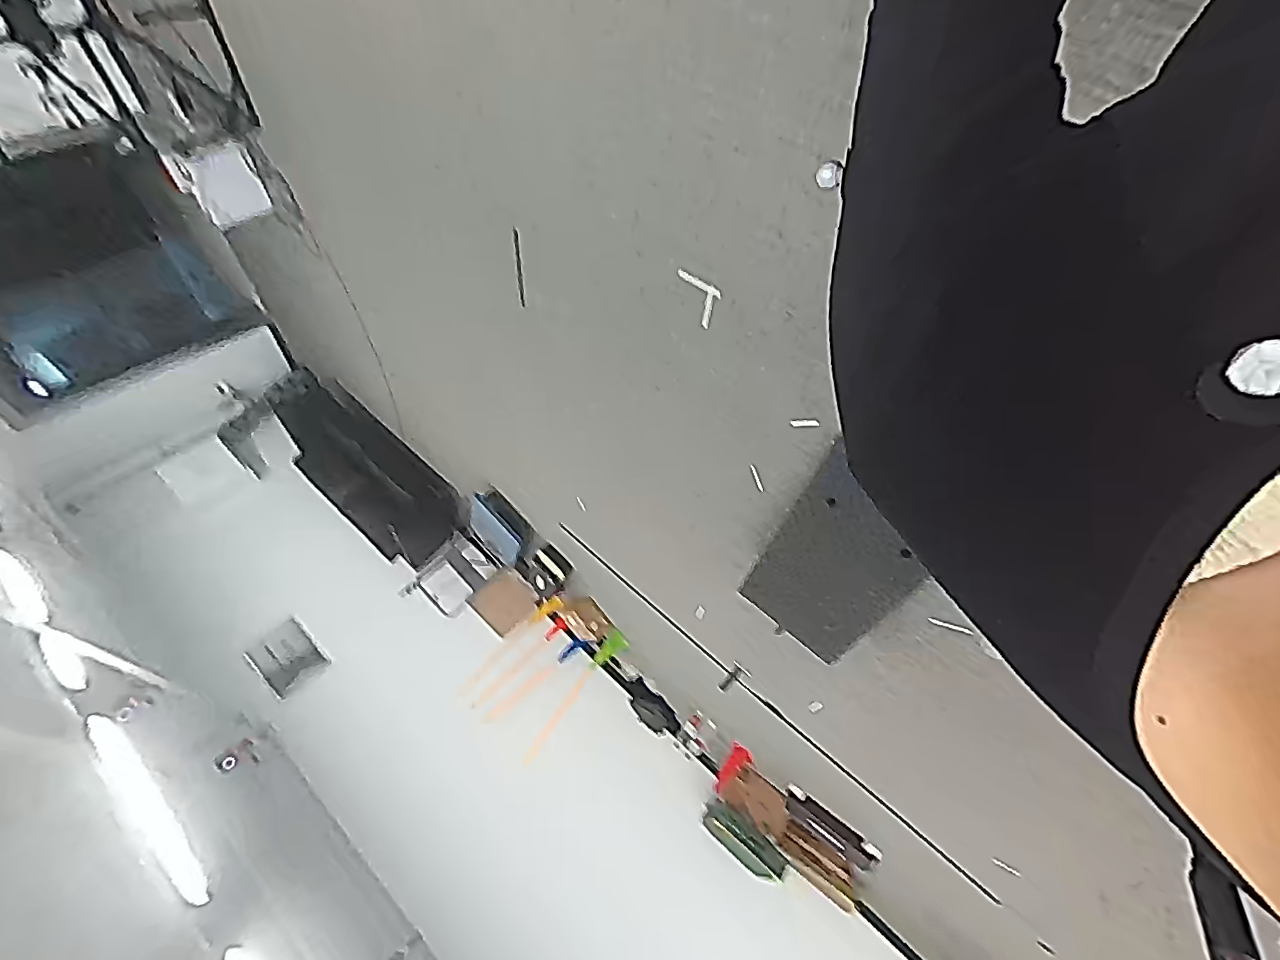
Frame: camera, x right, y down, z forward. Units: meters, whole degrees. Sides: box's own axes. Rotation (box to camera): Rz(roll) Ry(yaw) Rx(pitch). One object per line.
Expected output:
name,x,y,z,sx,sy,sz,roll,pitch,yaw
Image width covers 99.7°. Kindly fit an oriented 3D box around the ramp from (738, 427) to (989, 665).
ramp,0.727,0.294,1.989,0.509,0.206,0.991,38,148,21
